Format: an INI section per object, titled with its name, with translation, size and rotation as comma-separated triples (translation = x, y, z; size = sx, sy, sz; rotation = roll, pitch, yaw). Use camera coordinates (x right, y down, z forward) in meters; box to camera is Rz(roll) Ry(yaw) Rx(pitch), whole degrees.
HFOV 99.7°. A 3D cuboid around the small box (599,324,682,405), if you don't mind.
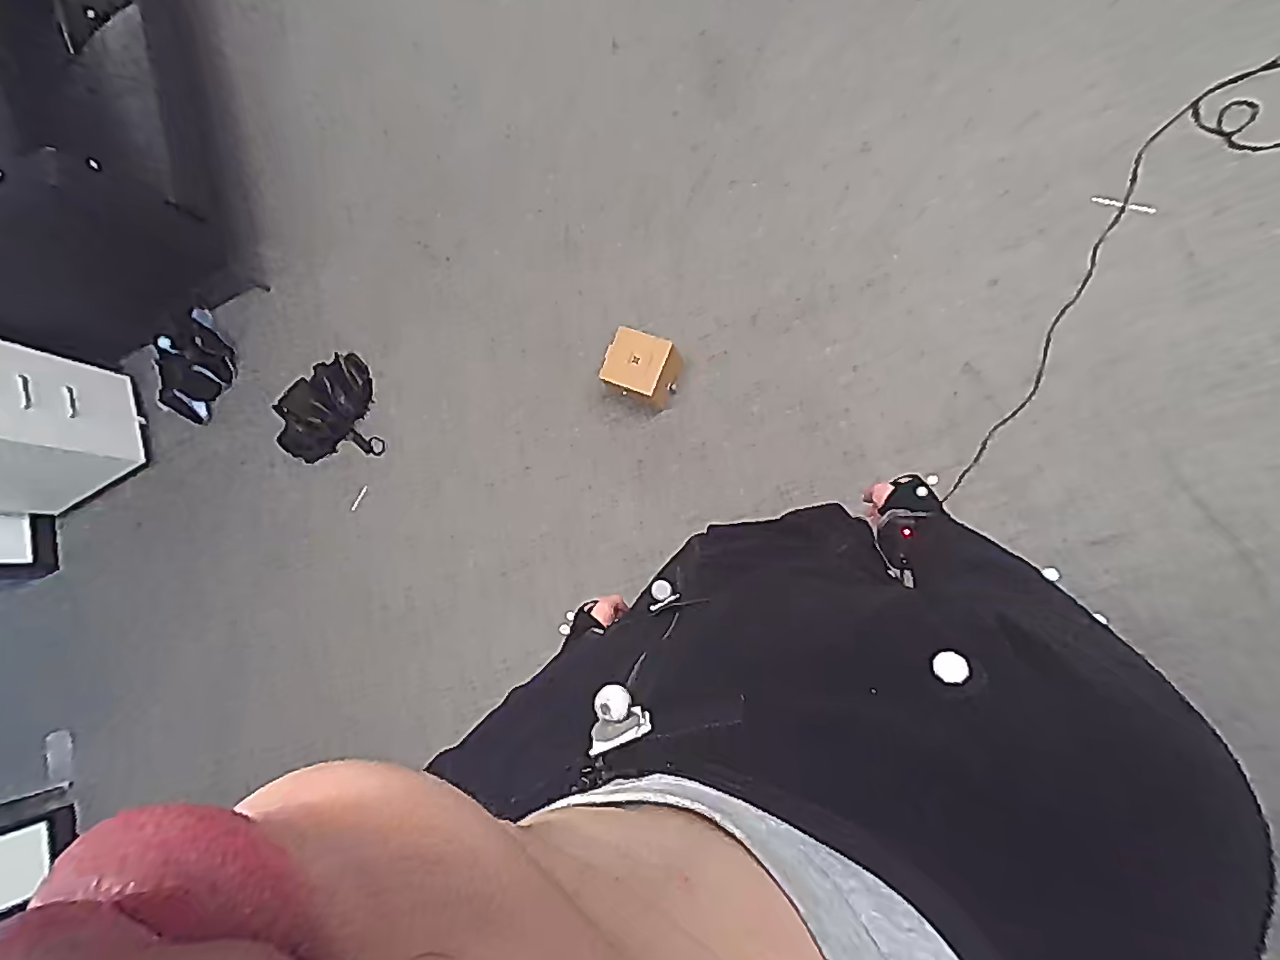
[small box]
translation = 0.007, -0.337, 1.609
size = 0.179, 0.176, 0.168
rotation = 22, 89, 17
